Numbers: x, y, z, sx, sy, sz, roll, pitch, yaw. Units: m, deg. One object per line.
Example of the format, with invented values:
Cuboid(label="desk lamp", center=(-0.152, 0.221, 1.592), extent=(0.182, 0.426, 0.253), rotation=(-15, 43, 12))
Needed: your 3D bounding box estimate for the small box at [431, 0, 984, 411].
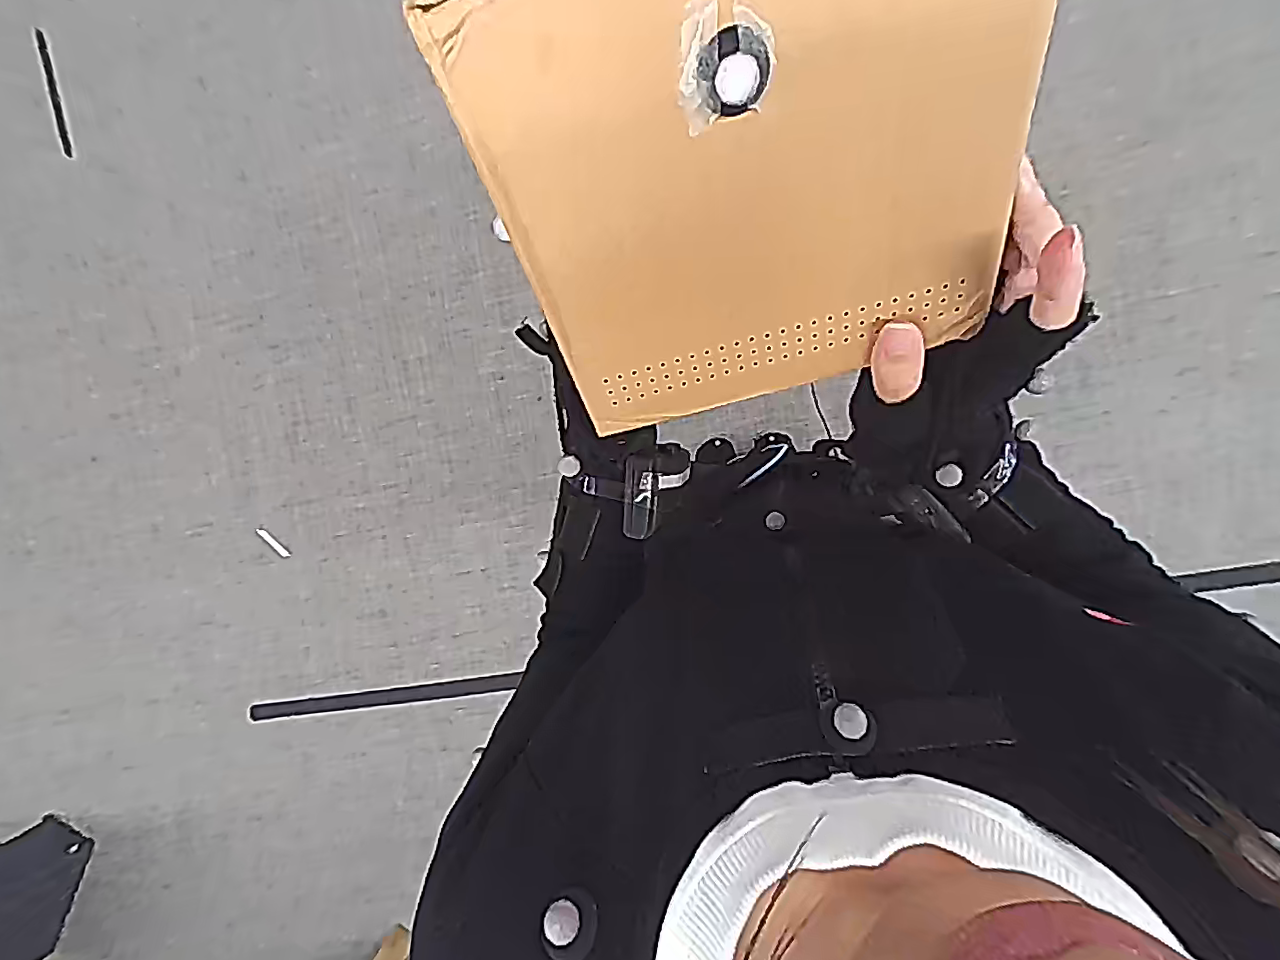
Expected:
Cuboid(label="small box", center=(0.037, -0.156, 0.259), extent=(0.179, 0.176, 0.168), rotation=(-14, 47, 9))
